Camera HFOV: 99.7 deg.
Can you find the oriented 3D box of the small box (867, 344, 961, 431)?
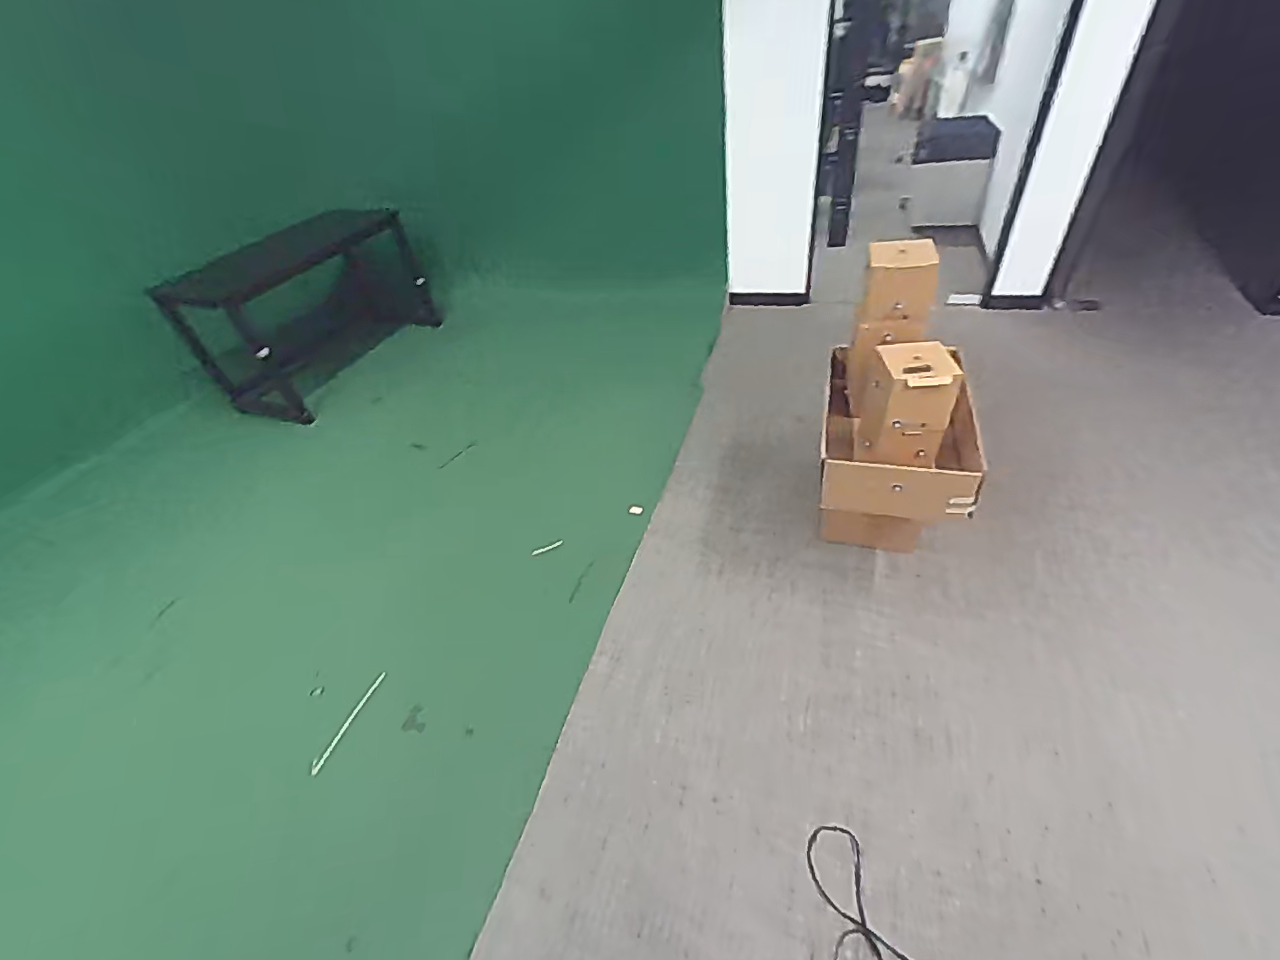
[{"bbox_3d":[0.719,-0.242,1.441,0.168,0.176,0.179,-3,41,7],"label":"small box"}]

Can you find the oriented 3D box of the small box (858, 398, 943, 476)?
[{"bbox_3d":[0.739,-0.124,1.553,0.168,0.176,0.179,-3,42,7],"label":"small box"}]

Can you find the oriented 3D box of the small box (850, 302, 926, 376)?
[{"bbox_3d":[0.744,-0.428,1.638,0.179,0.176,0.168,2,44,15],"label":"small box"}]

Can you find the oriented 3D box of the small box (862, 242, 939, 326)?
[{"bbox_3d":[0.729,-0.555,1.533,0.168,0.176,0.179,3,44,16],"label":"small box"}]
